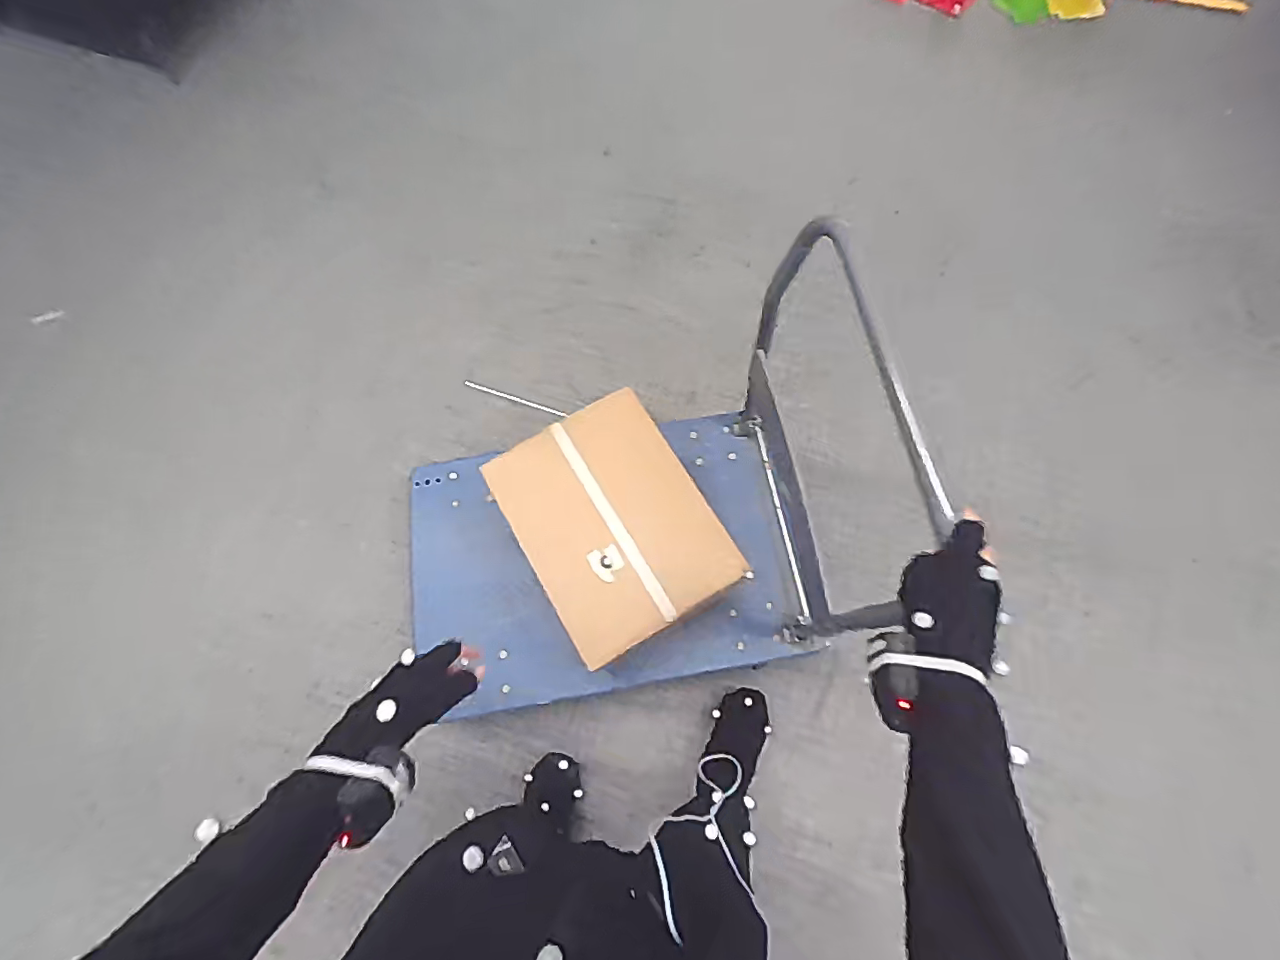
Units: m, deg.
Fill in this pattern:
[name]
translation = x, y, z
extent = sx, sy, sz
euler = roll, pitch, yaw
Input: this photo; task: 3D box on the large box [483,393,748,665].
[large box]
translation = -0.051, 0.112, 1.083
extent = 0.320, 0.320, 0.408
euler = -31, 74, -9
